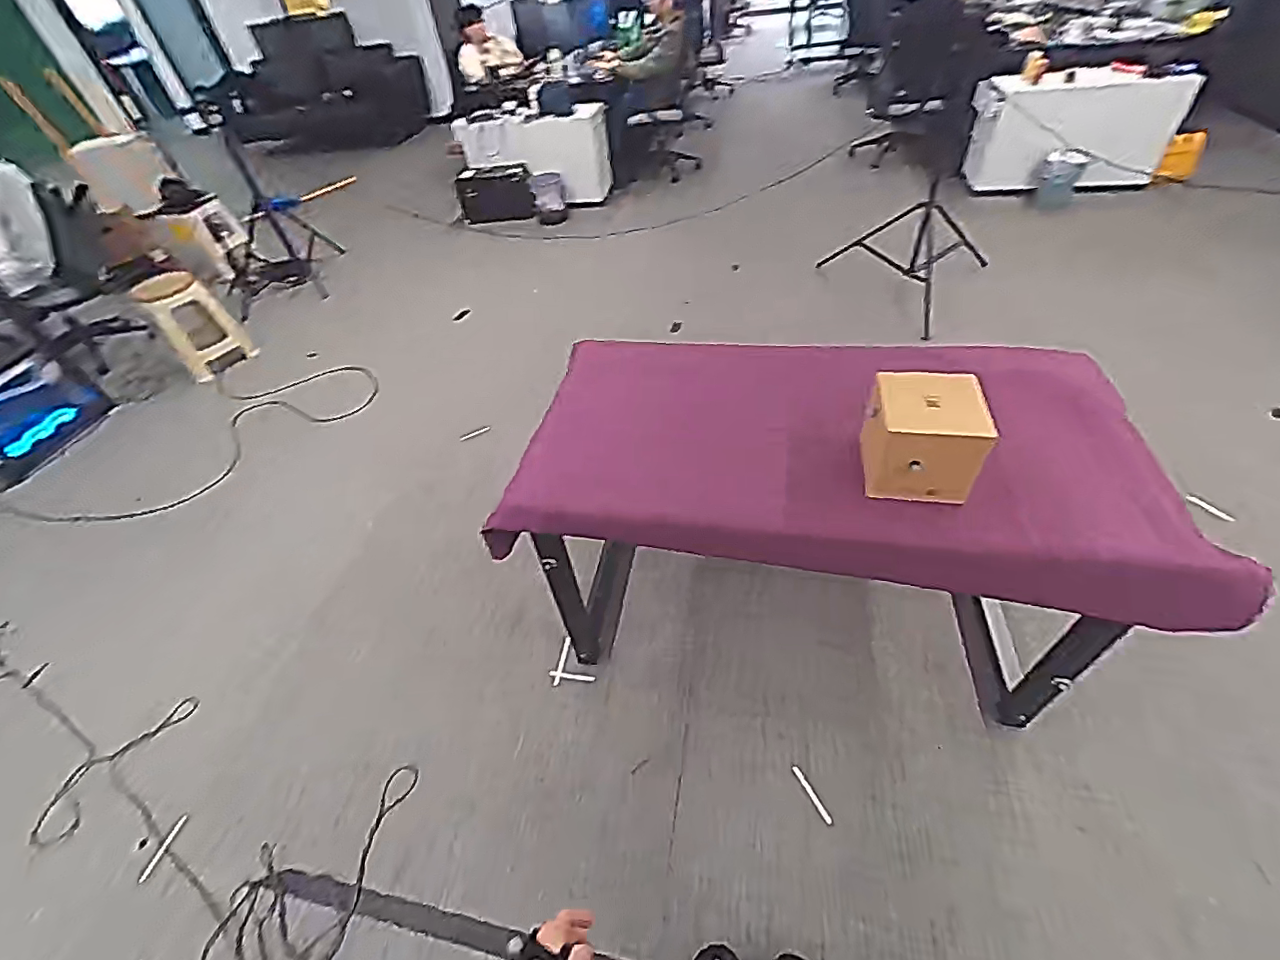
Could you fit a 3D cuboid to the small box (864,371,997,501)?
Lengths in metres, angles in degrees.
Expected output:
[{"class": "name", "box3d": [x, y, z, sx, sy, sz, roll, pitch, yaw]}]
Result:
[{"class": "small box", "box3d": [0.516, -0.079, 0.989, 0.168, 0.176, 0.179, 4, 46, 12]}]
